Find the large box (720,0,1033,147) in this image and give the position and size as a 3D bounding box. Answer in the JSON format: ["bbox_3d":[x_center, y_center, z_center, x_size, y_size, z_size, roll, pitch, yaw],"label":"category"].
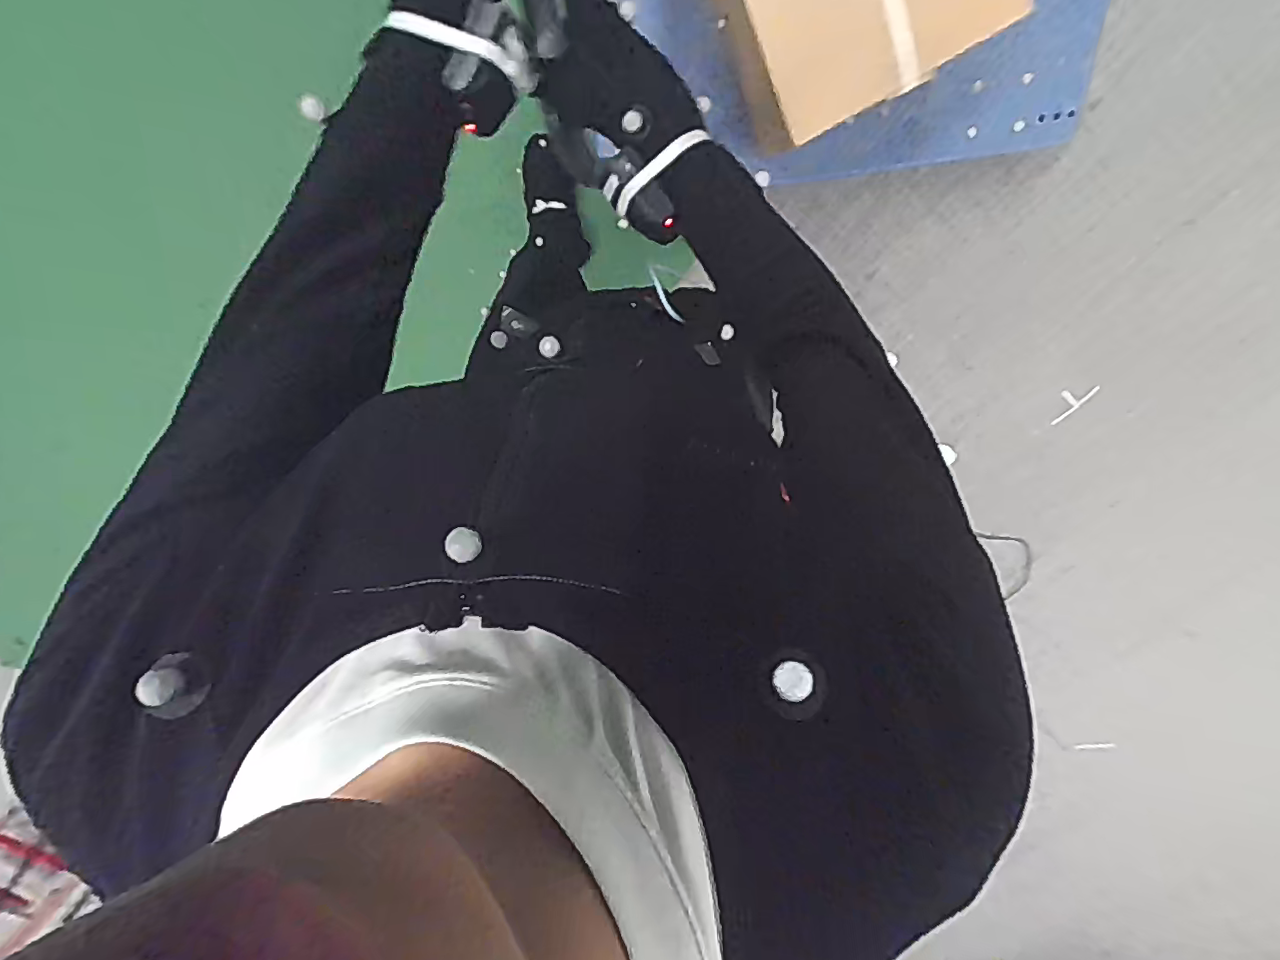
[{"bbox_3d":[0.276,-0.760,0.759,0.320,0.320,0.408,-22,114,15],"label":"large box"}]
